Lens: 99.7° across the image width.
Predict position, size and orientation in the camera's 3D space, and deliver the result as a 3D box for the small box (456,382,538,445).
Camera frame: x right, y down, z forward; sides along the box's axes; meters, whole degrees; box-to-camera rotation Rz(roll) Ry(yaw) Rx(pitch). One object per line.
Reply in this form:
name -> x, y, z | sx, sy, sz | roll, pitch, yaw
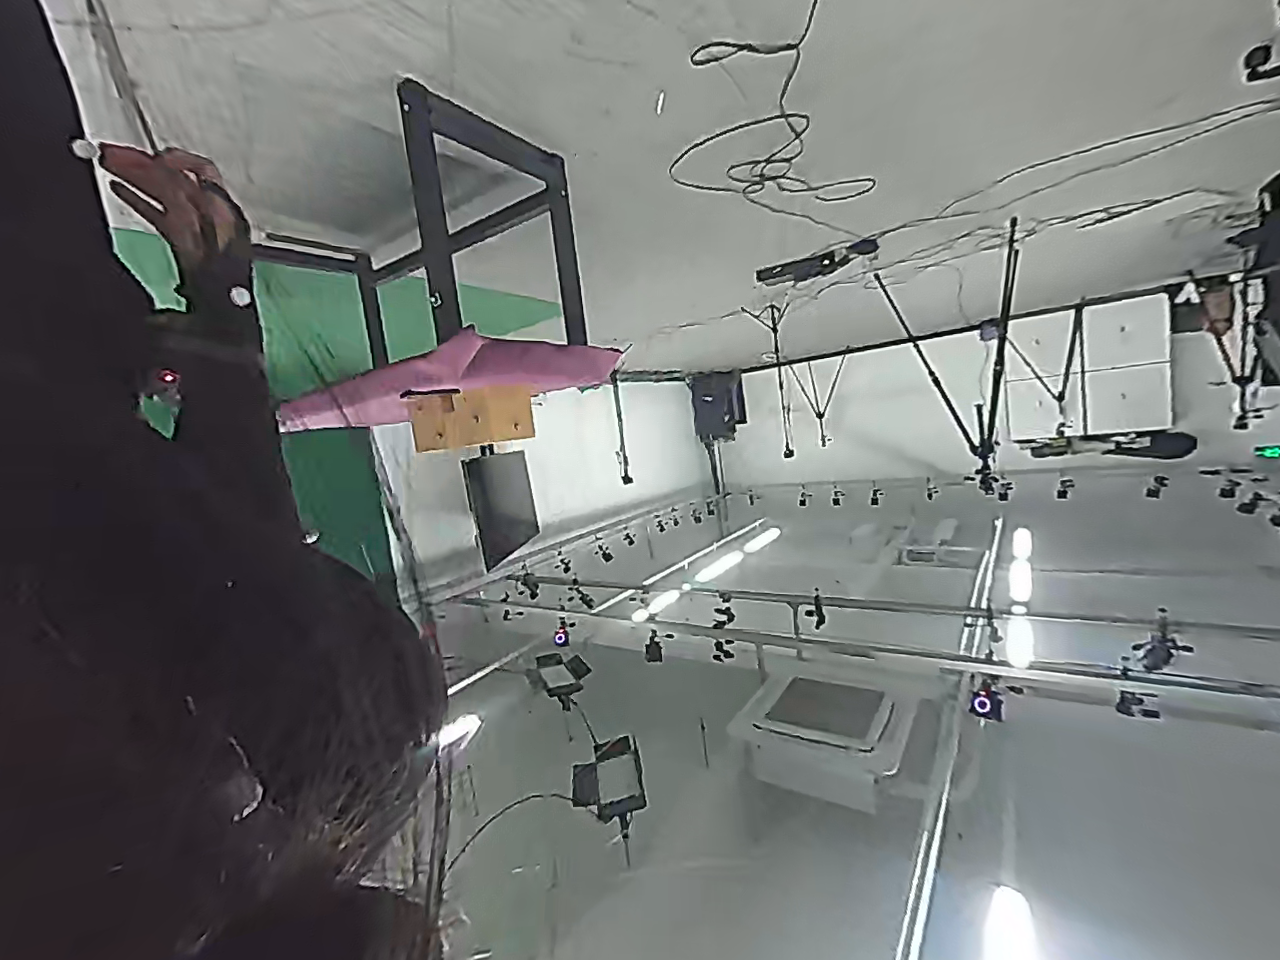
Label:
small box -> -0.446, -0.208, 1.678 | 0.168, 0.176, 0.179 | -4, -173, 36
